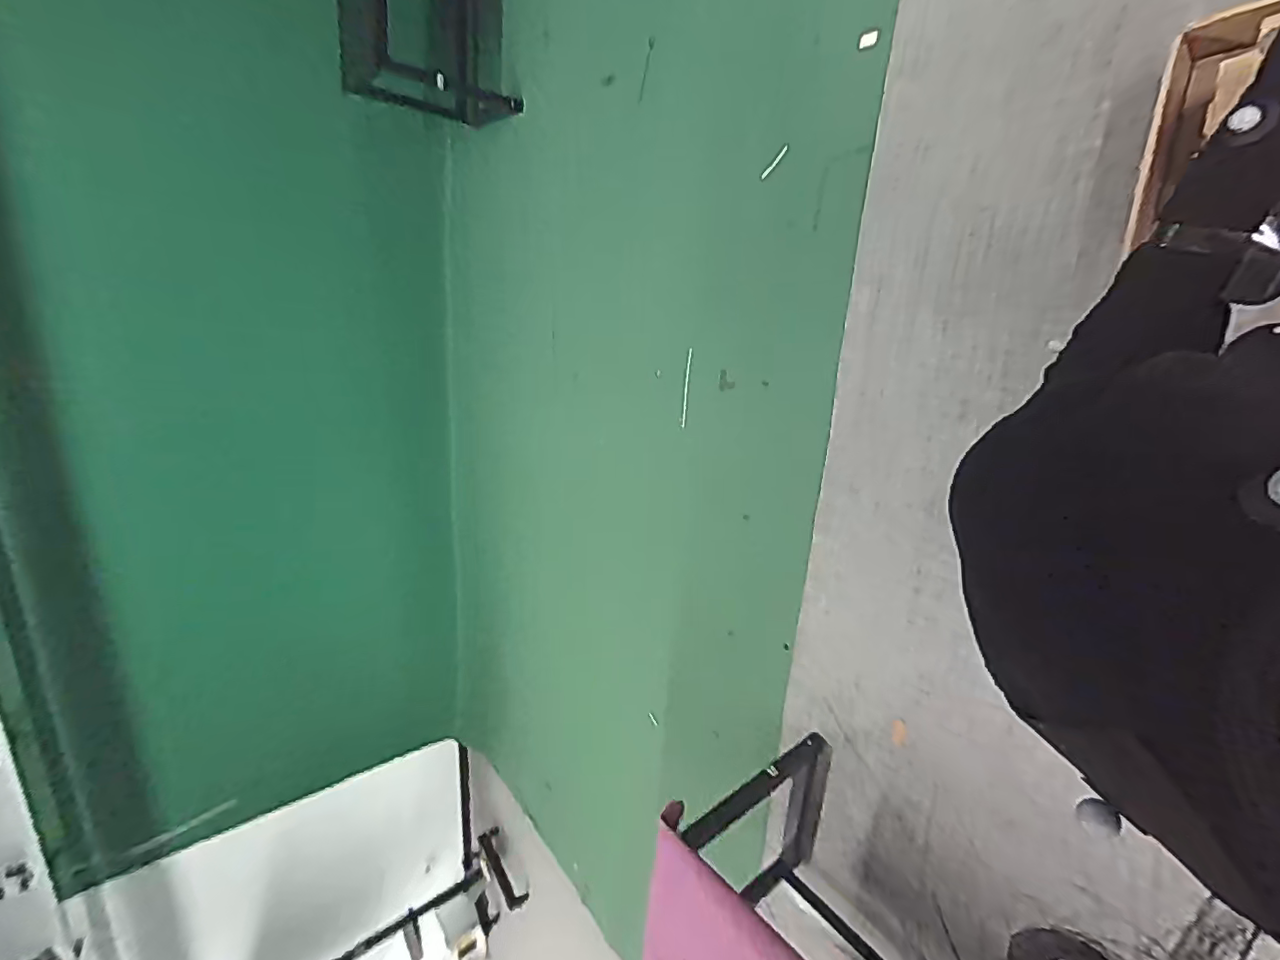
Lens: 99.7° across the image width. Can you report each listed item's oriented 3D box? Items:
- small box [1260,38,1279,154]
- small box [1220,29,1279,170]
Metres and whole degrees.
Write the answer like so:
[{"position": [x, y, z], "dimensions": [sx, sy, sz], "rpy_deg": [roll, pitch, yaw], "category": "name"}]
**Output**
[{"position": [0.970, -0.557, 0.720], "dimensions": [0.168, 0.176, 0.179], "rpy_deg": [11, 109, 47], "category": "small box"}, {"position": [1.065, -0.610, 0.851], "dimensions": [0.179, 0.176, 0.168], "rpy_deg": [14, 111, 48], "category": "small box"}]
